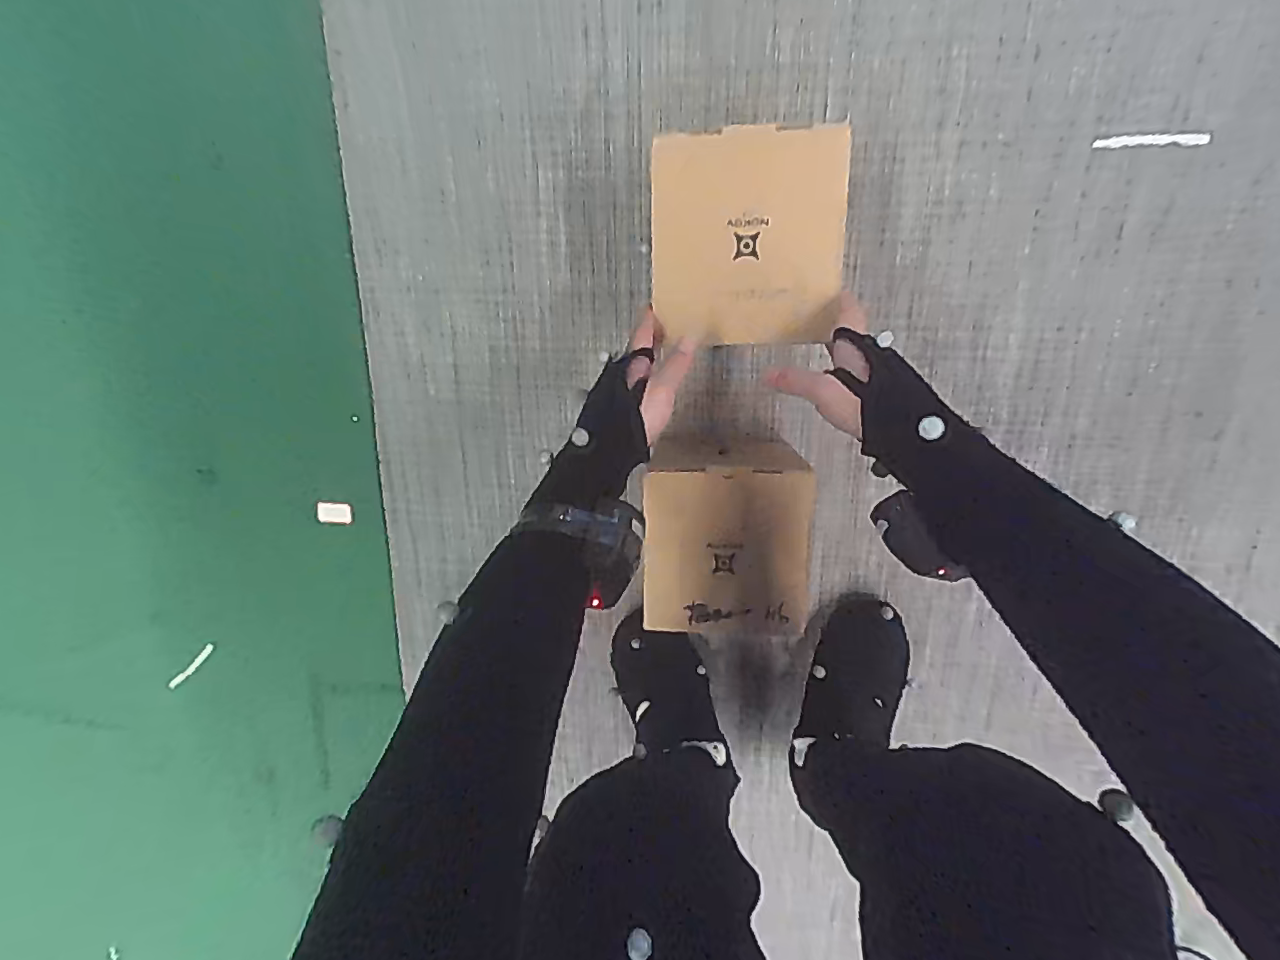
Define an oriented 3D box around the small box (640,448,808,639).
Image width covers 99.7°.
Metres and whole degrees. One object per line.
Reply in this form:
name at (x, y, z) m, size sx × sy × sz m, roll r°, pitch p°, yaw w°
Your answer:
small box at (0.088, 0.059, 0.618) m, size 0.168 × 0.176 × 0.179 m, roll 1°, pitch 103°, yaw 7°
